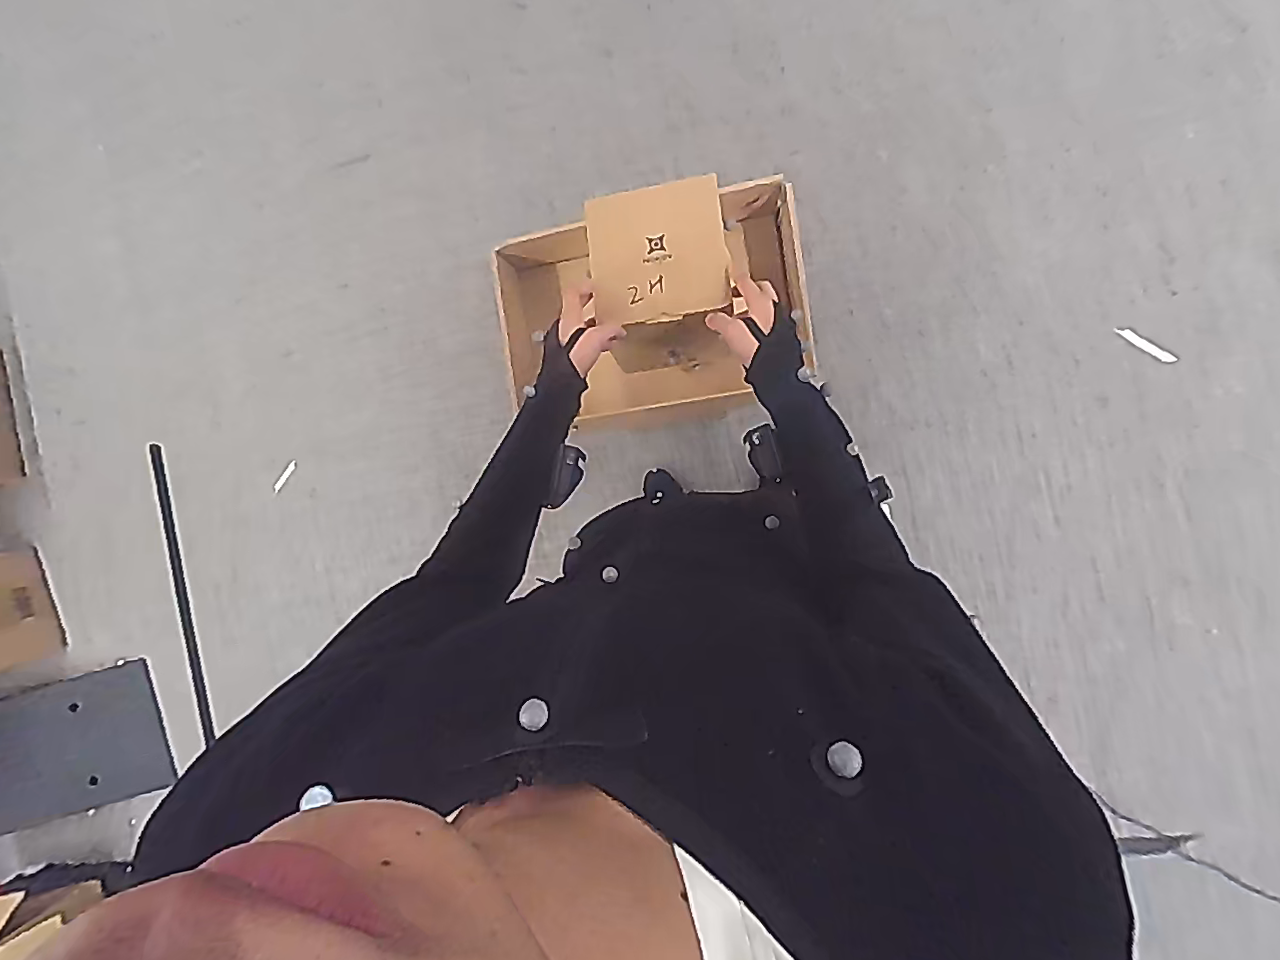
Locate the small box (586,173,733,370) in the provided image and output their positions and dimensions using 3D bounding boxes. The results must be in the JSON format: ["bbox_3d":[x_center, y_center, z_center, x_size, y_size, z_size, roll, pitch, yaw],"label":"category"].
[{"bbox_3d":[0.032,-0.266,0.727,0.168,0.176,0.179,-7,82,9],"label":"small box"}]
